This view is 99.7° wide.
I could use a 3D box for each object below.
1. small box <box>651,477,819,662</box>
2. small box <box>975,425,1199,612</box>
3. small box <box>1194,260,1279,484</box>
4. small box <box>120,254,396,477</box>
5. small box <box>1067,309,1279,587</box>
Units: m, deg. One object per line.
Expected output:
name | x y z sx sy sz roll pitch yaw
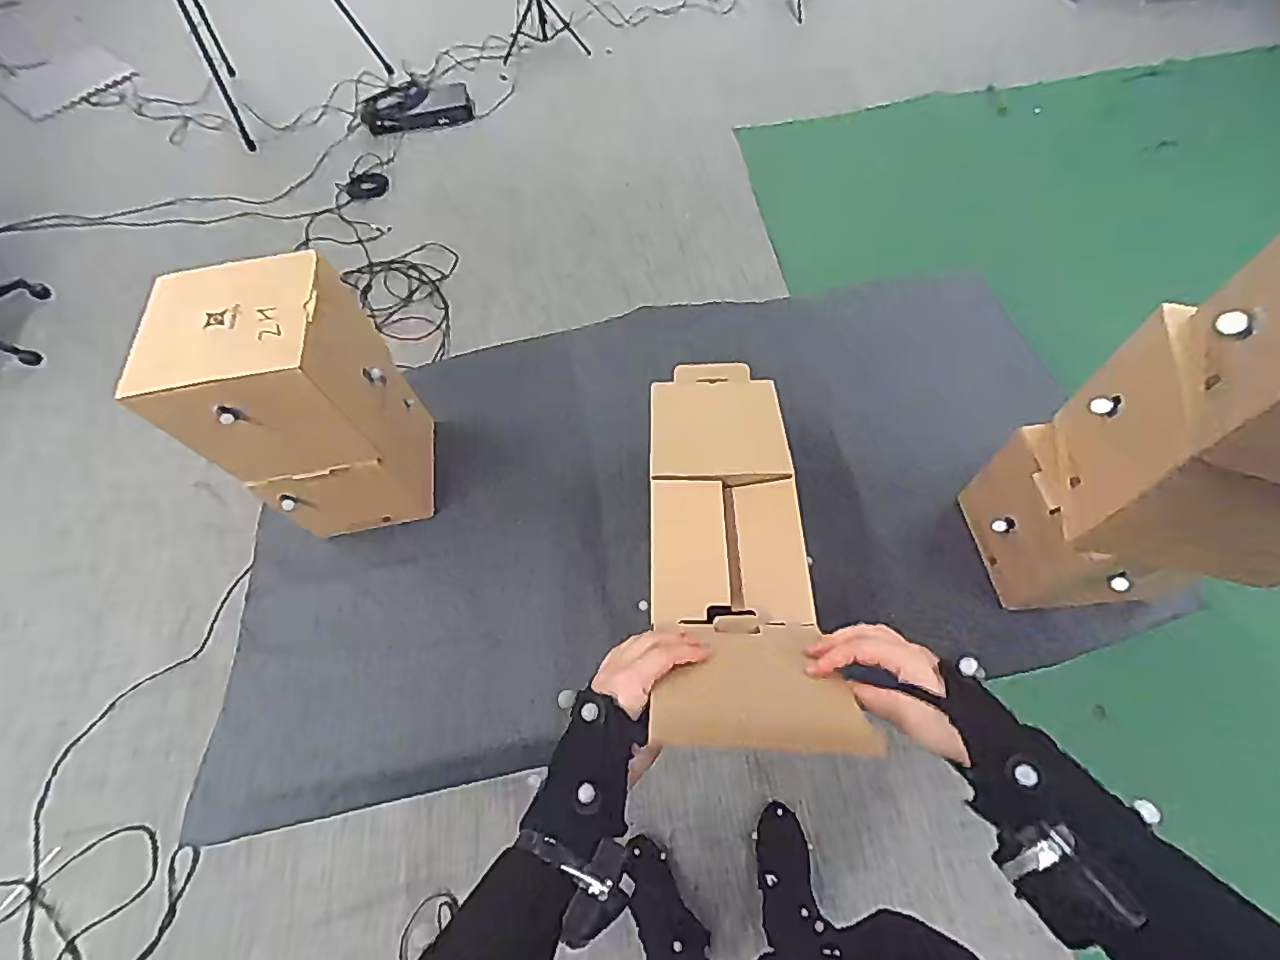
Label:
small box | 0.098 0.112 0.636 0.168 0.176 0.179 -1 60 2
small box | 0.527 0.047 0.630 0.179 0.176 0.168 -6 59 3
small box | 0.508 -0.084 0.327 0.179 0.176 0.168 22 64 17
small box | -0.403 -0.118 0.608 0.179 0.176 0.168 -10 63 -1
small box | 0.519 -0.021 0.481 0.179 0.176 0.168 13 62 12
